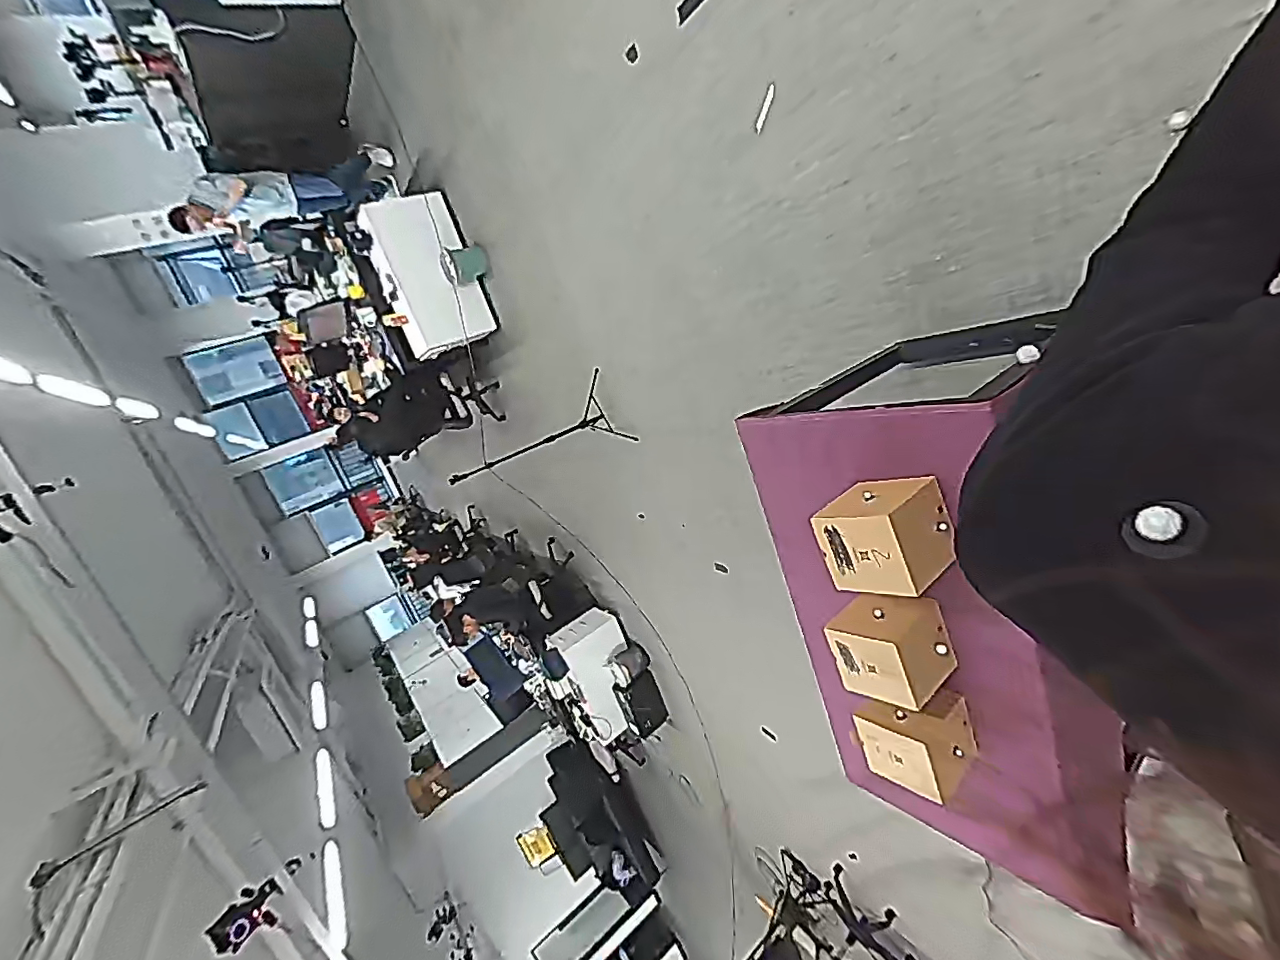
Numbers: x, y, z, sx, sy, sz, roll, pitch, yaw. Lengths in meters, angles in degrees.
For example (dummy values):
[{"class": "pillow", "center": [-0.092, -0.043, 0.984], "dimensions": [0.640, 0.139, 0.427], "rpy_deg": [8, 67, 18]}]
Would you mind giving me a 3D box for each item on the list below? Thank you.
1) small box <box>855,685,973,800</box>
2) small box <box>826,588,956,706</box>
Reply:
[{"class": "small box", "center": [0.633, 0.573, 1.238], "dimensions": [0.179, 0.176, 0.168], "rpy_deg": [1, 116, 58]}, {"class": "small box", "center": [0.548, 0.353, 1.183], "dimensions": [0.179, 0.176, 0.168], "rpy_deg": [-6, 110, 59]}]
